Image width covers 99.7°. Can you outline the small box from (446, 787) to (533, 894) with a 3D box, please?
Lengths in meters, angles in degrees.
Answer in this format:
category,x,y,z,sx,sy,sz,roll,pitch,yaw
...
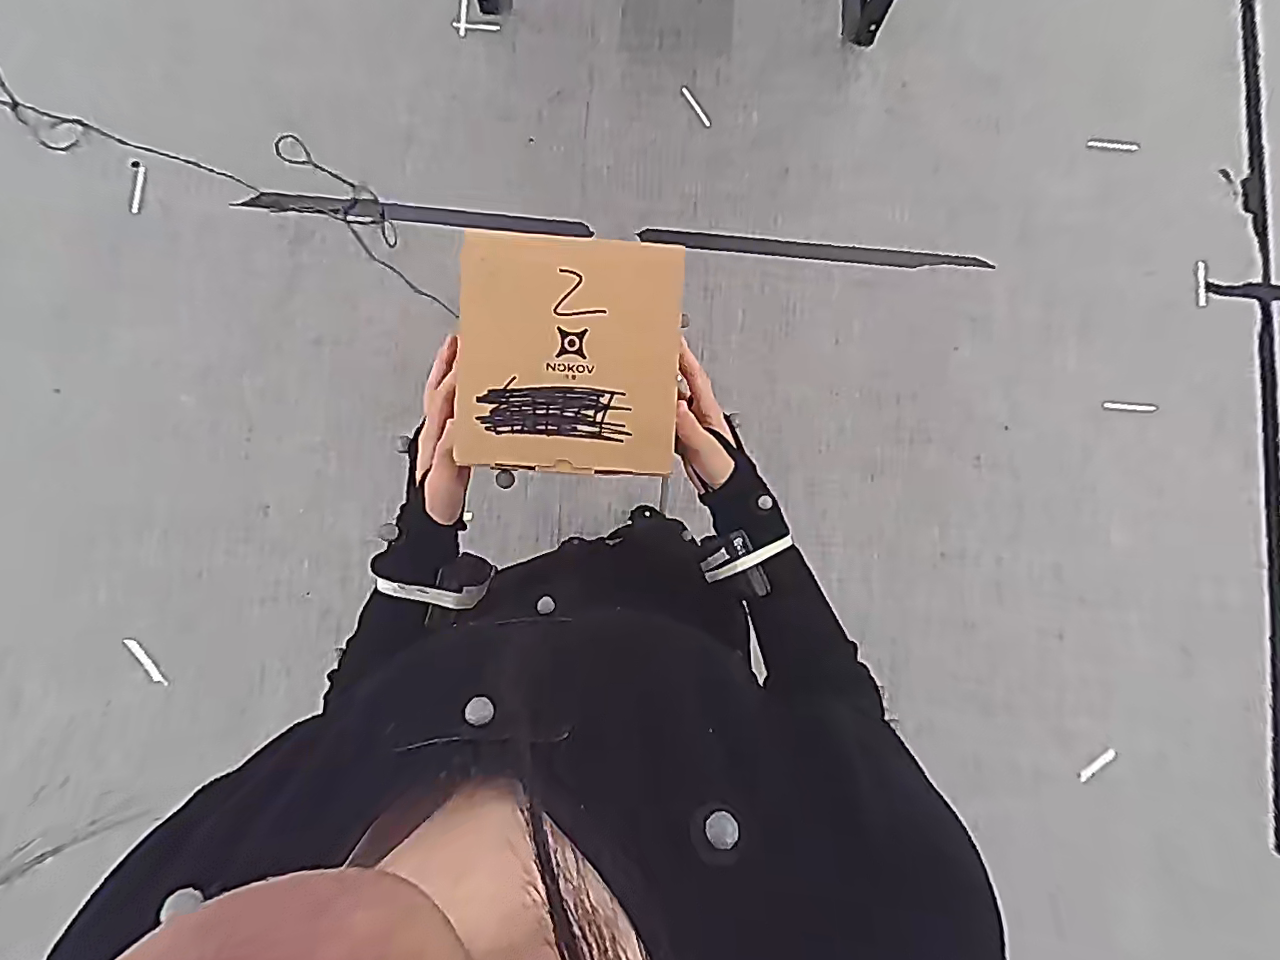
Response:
category,x,y,z,sx,sy,sz,roll,pitch,yaw
small box,-0.369,0.889,1.347,0.179,0.176,0.168,-2,86,-2
